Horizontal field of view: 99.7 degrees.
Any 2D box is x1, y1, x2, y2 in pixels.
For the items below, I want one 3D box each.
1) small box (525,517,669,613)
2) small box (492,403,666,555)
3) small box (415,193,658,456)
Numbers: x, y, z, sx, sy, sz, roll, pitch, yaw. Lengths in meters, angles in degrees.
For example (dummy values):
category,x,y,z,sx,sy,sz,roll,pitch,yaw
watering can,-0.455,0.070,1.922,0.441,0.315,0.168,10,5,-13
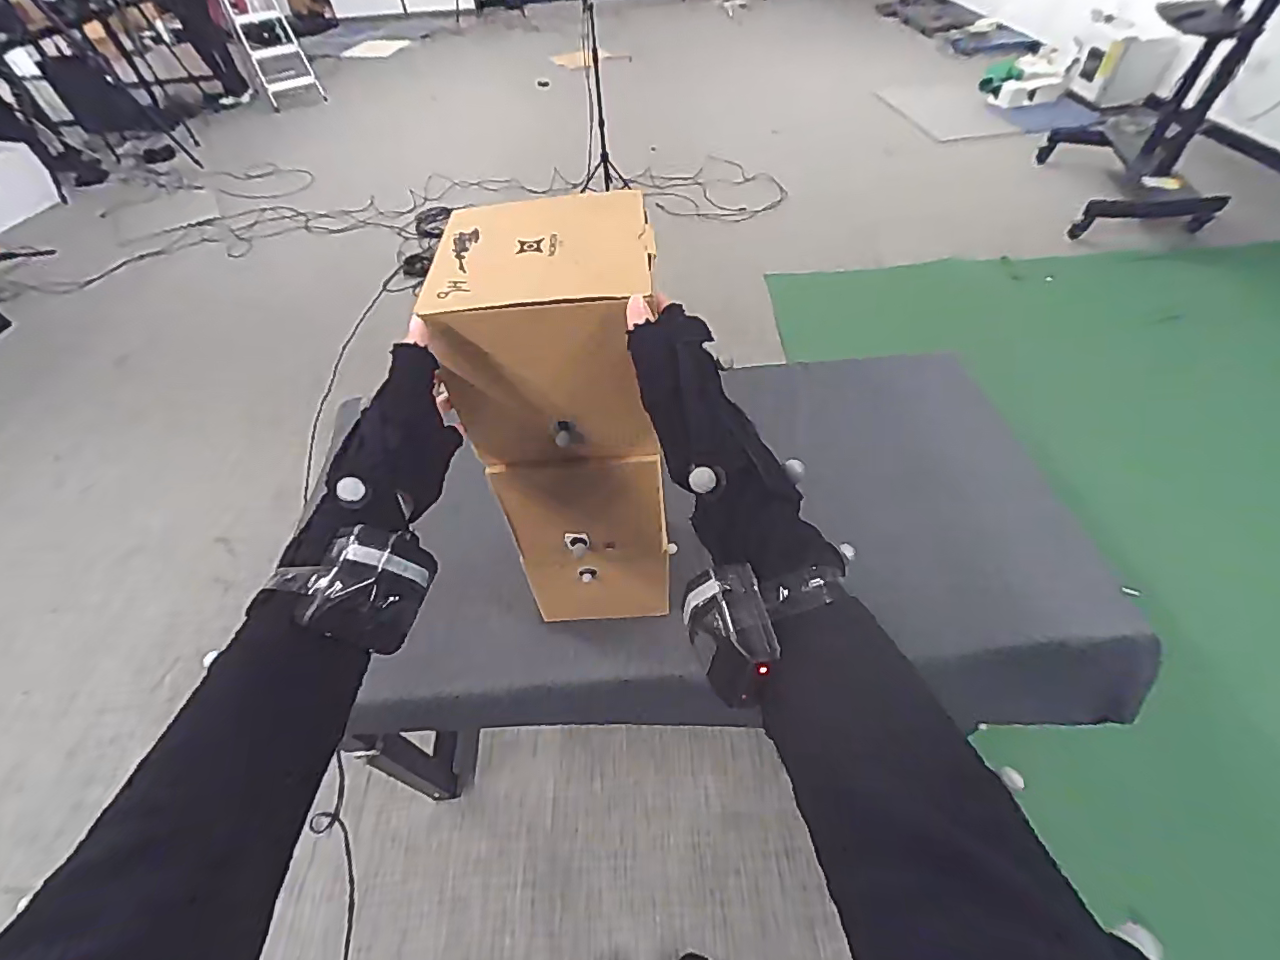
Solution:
category,x,y,z,sx,sy,sz,roll,pitch,yaw
small box,-0.051,0.078,0.765,0.179,0.176,0.168,-3,51,1
small box,-0.059,-0.034,0.627,0.168,0.176,0.179,-5,52,1
small box,-0.074,-0.138,0.497,0.179,0.176,0.168,-4,50,1
